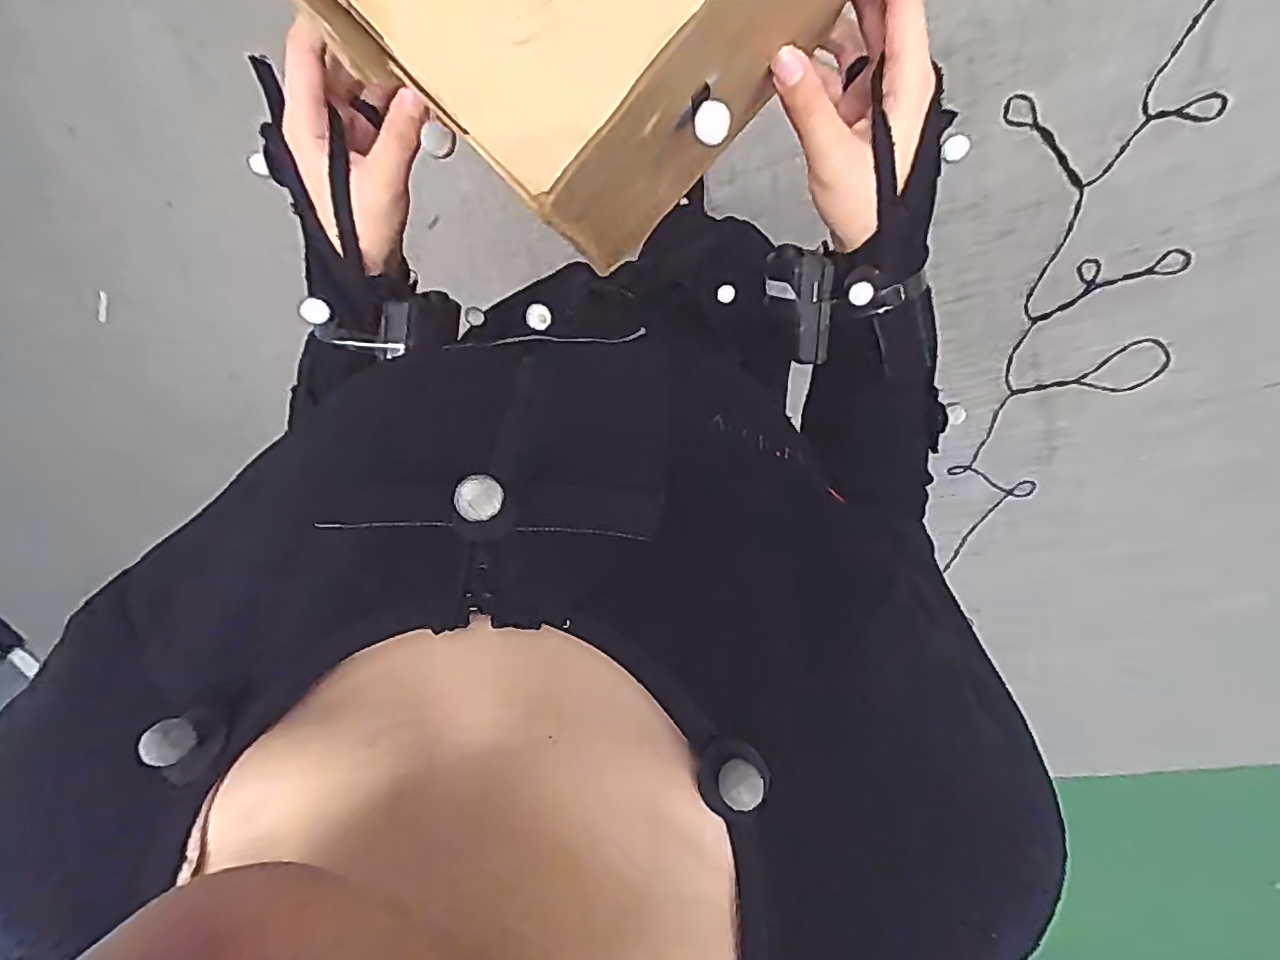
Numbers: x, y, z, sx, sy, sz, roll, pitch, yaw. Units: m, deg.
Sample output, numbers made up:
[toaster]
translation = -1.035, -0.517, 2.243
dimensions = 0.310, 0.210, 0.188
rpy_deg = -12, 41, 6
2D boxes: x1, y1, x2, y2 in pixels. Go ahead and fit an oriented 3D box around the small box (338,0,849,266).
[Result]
[small box]
translation = -0.015, -0.217, 0.226
dimensions = 0.168, 0.176, 0.179
rpy_deg = 44, 103, -8
